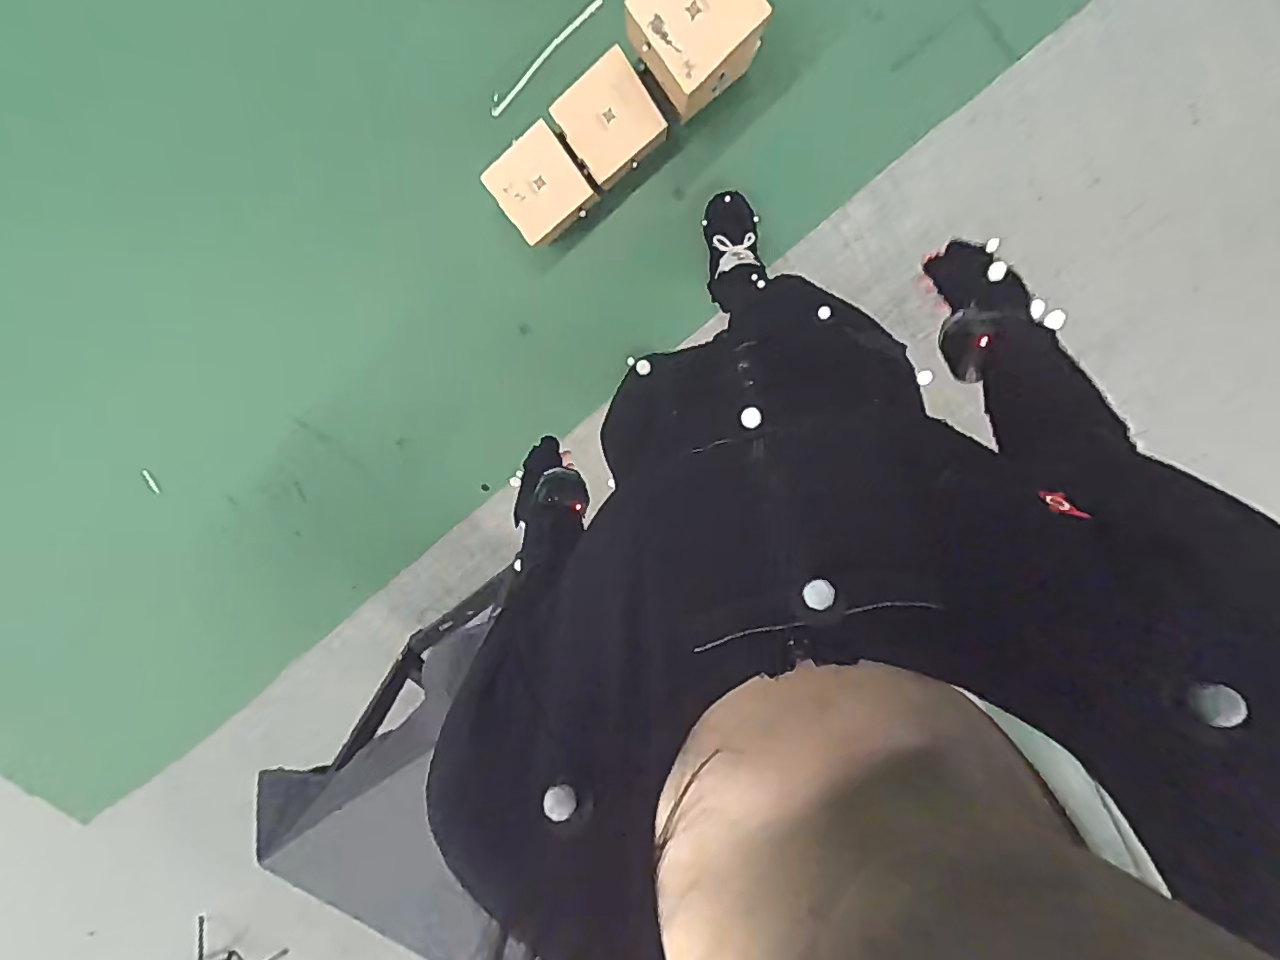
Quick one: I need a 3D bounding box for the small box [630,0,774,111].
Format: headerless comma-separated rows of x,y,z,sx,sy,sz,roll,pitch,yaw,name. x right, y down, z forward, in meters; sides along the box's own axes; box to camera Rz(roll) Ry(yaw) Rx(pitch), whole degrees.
0.097,-0.782,0.927,0.179,0.176,0.168,-37,108,16,small box
